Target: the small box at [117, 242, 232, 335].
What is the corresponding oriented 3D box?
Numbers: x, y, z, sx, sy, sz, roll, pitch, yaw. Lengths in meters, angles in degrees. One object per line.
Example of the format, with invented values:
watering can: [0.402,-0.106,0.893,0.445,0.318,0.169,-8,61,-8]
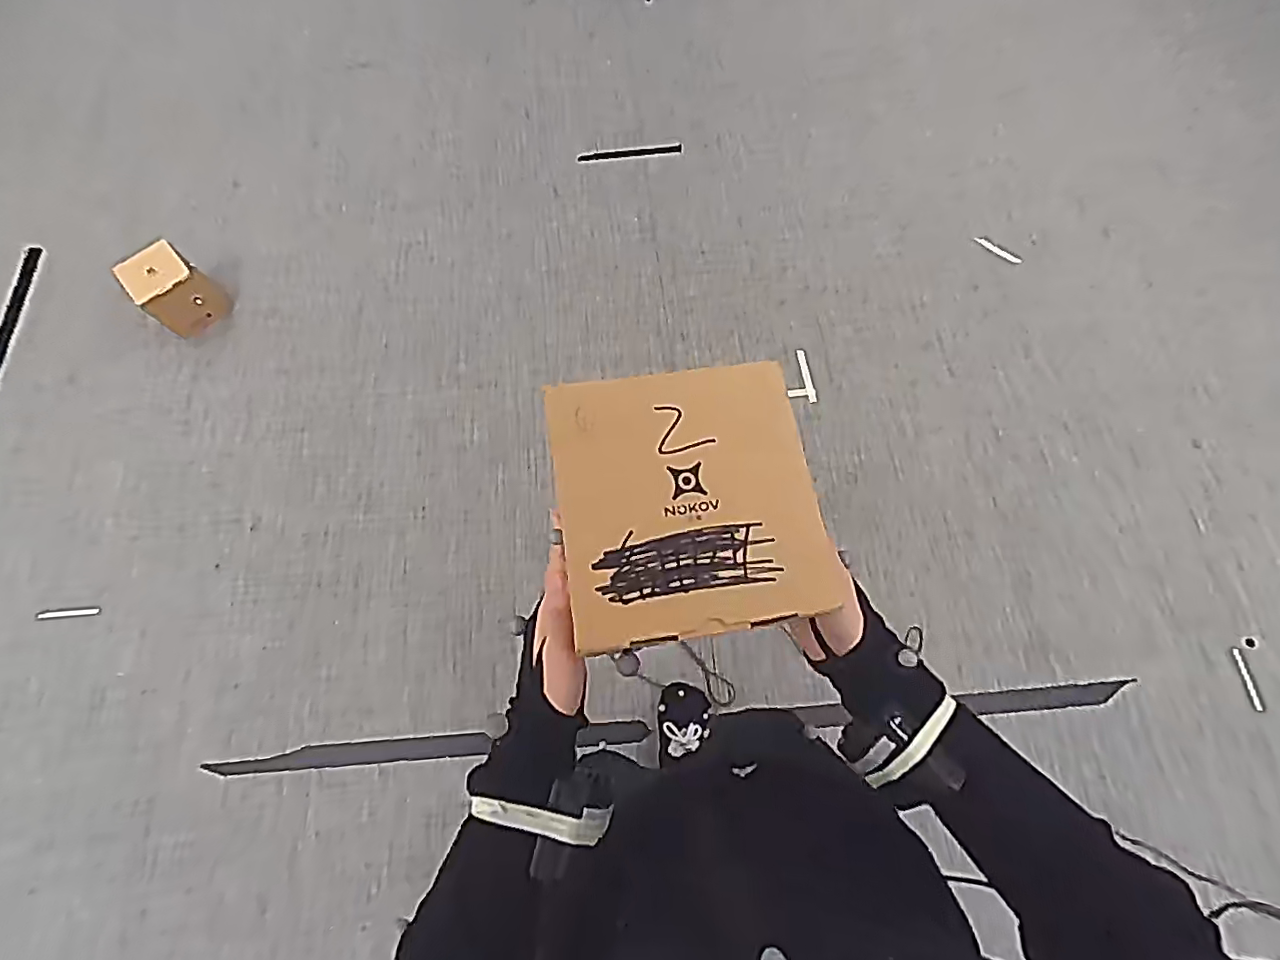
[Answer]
small box: [-1.390,-0.565,1.628,0.168,0.176,0.179,-41,74,-13]
